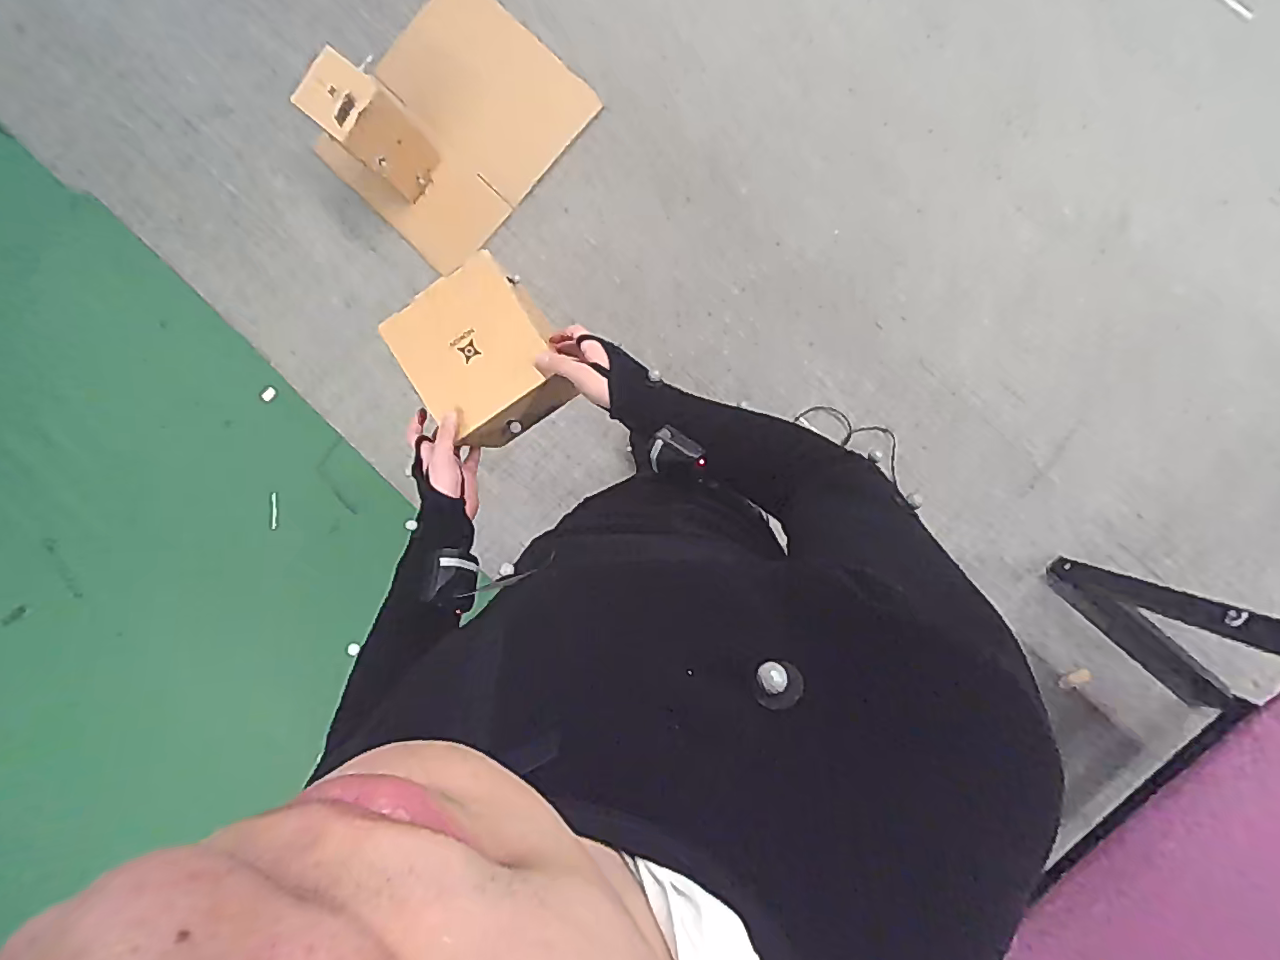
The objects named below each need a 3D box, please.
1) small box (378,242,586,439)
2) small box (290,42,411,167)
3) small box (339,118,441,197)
[{"bbox_3d":[-0.193,-0.168,0.716,0.168,0.176,0.179,-33,88,7],"label":"small box"},{"bbox_3d":[-0.727,-0.943,1.381,0.179,0.176,0.168,40,96,3],"label":"small box"},{"bbox_3d":[-0.710,-0.951,1.544,0.179,0.176,0.168,37,96,2],"label":"small box"}]
